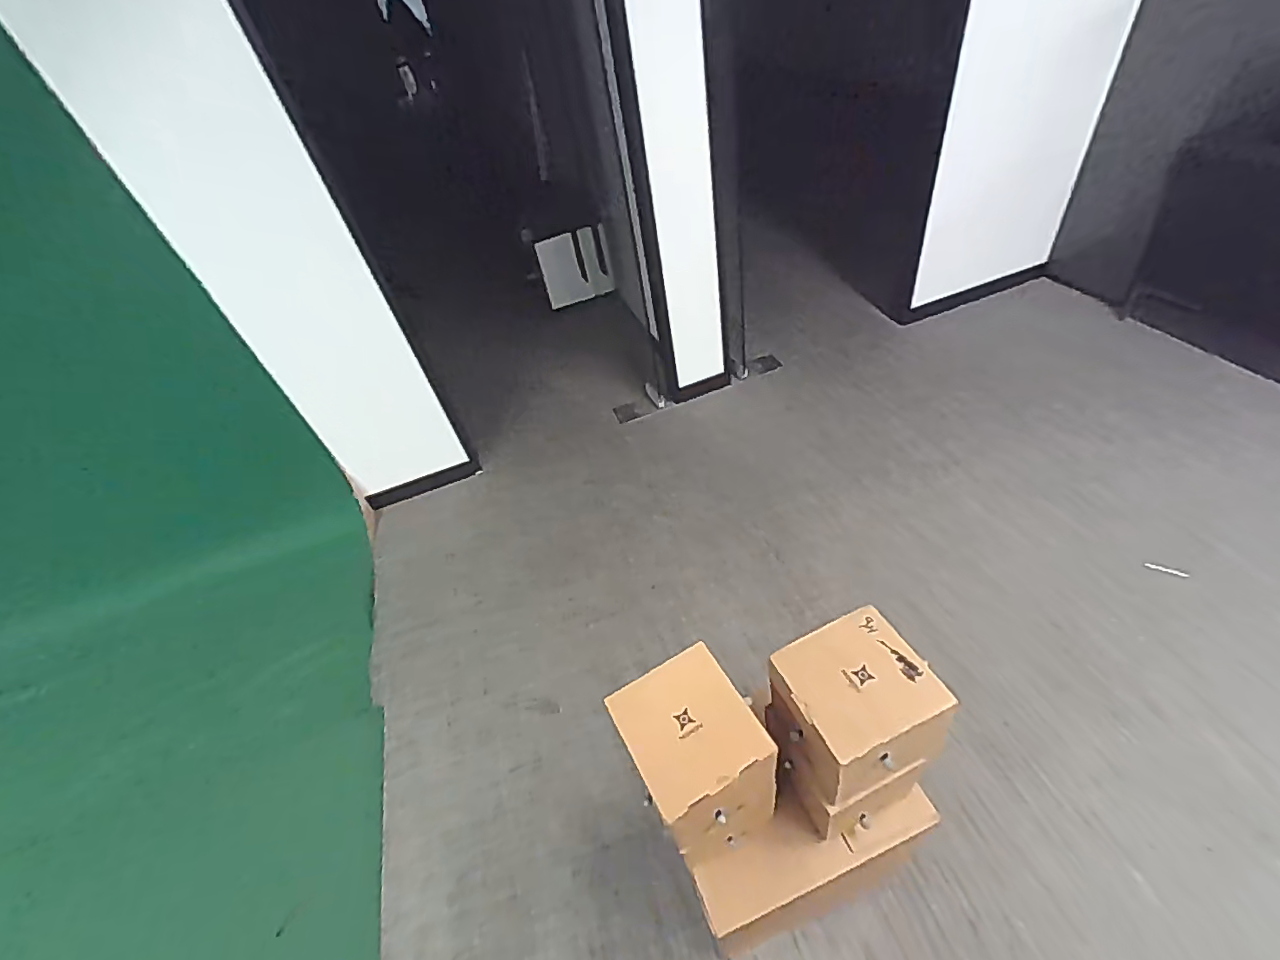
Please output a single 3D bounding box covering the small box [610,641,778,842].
[{"bbox_3d":[0.076,0.375,0.777,0.168,0.176,0.179,-26,47,-14],"label":"small box"}]
